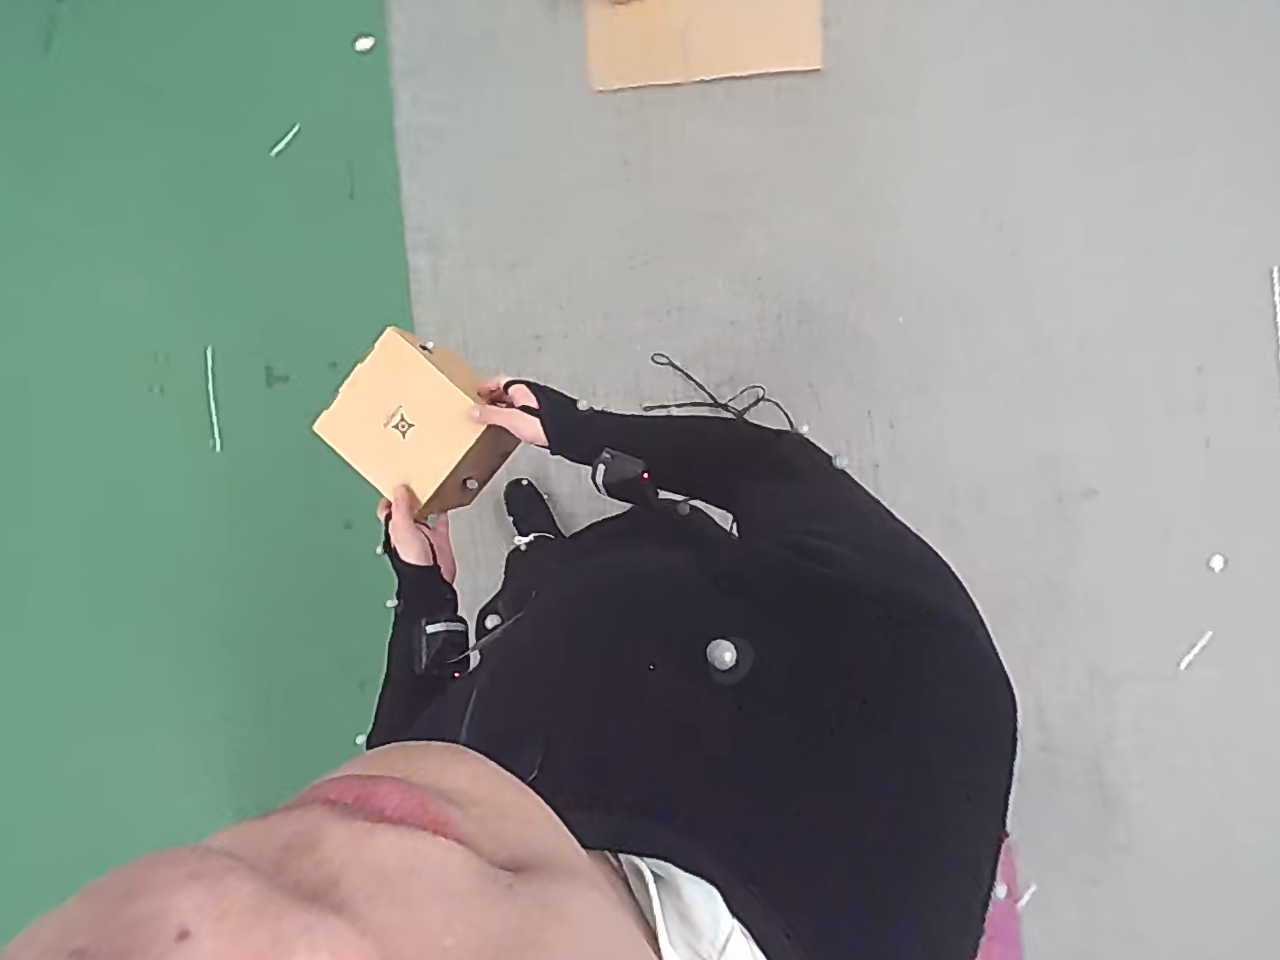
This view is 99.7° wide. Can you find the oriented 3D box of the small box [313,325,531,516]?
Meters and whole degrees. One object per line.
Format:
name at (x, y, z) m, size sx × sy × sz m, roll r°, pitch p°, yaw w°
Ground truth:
small box at (-0.278, -0.077, 0.731) m, size 0.179 × 0.176 × 0.168 m, roll 42°, pitch 97°, yaw 4°
